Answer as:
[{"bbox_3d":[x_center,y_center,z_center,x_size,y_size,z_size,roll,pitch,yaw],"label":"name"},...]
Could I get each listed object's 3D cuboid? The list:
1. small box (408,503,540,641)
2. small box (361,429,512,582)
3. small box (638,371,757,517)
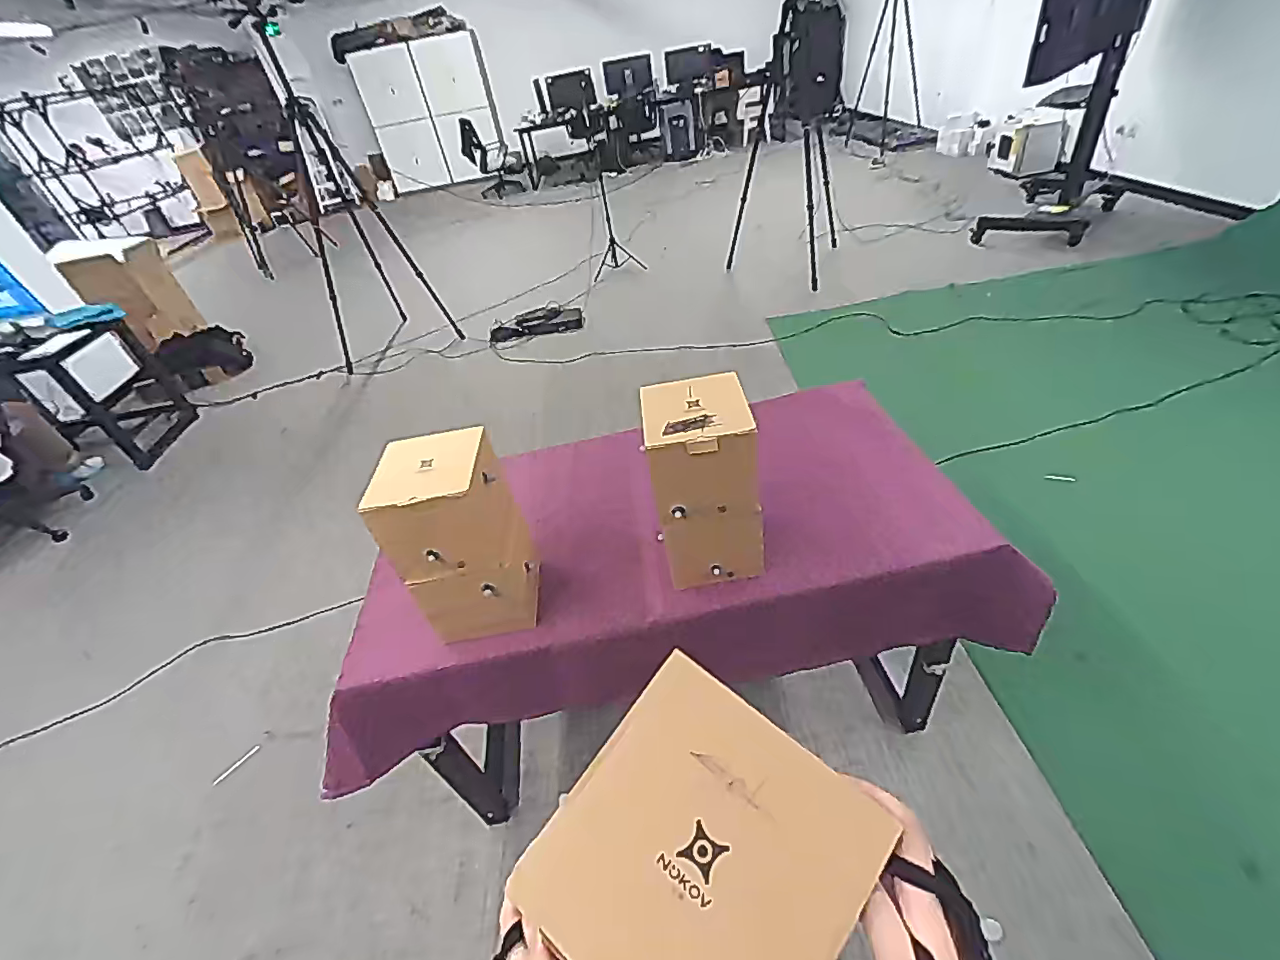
[{"bbox_3d":[-0.290,0.170,0.991,0.179,0.176,0.168,-11,39,2],"label":"small box"},{"bbox_3d":[-0.320,0.042,0.896,0.168,0.176,0.179,-10,40,2],"label":"small box"},{"bbox_3d":[0.094,-0.054,0.895,0.168,0.176,0.179,-9,39,4],"label":"small box"}]
